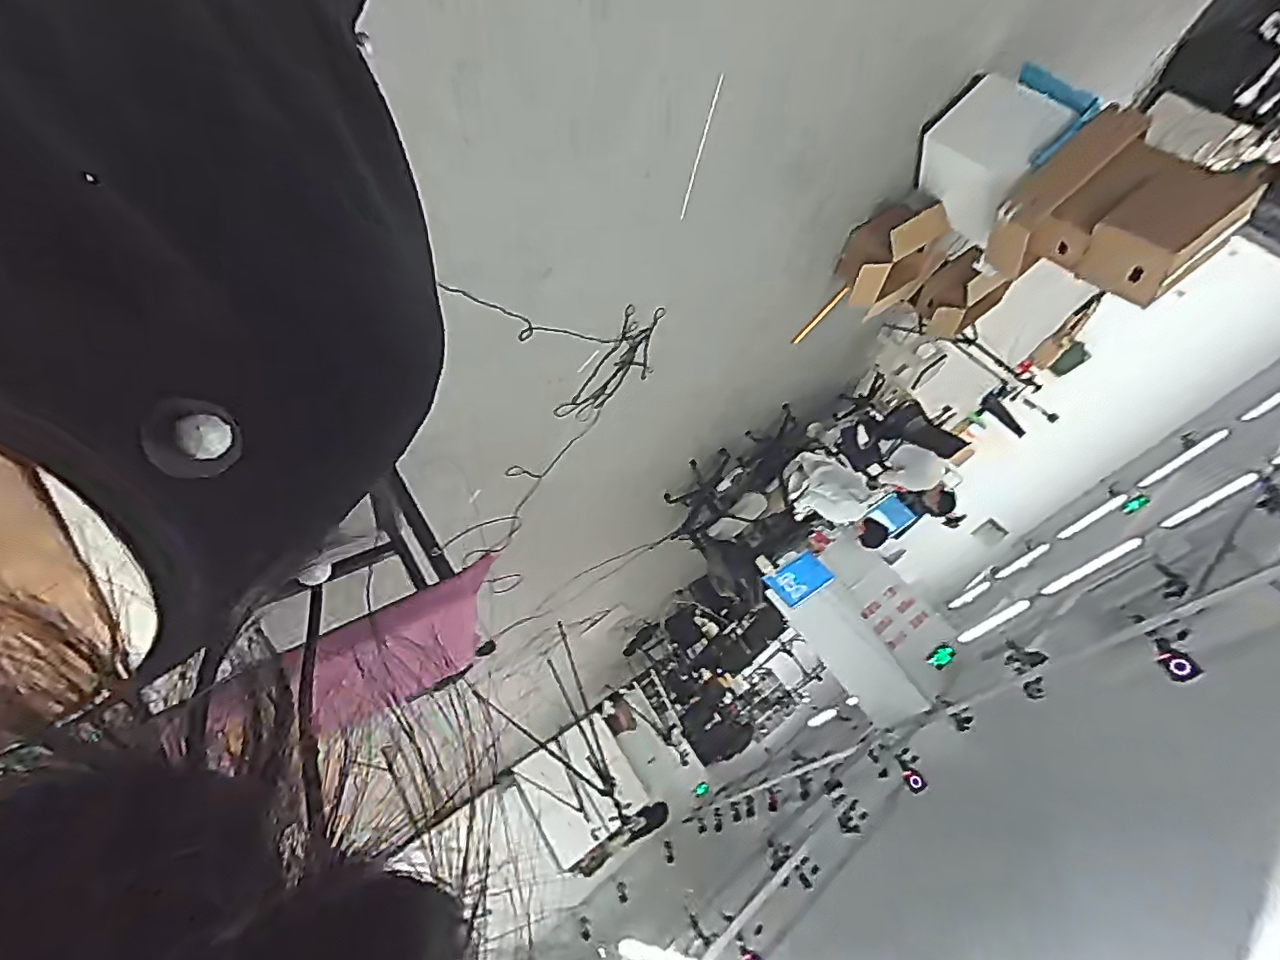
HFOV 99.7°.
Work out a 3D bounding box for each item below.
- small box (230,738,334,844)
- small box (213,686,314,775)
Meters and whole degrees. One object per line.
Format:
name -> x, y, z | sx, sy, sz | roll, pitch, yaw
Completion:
small box -> -0.934, 0.811, 1.419 | 0.179, 0.176, 0.168 | -22, 153, -34
small box -> -1.029, 0.692, 1.481 | 0.168, 0.176, 0.179 | -25, 156, -31
